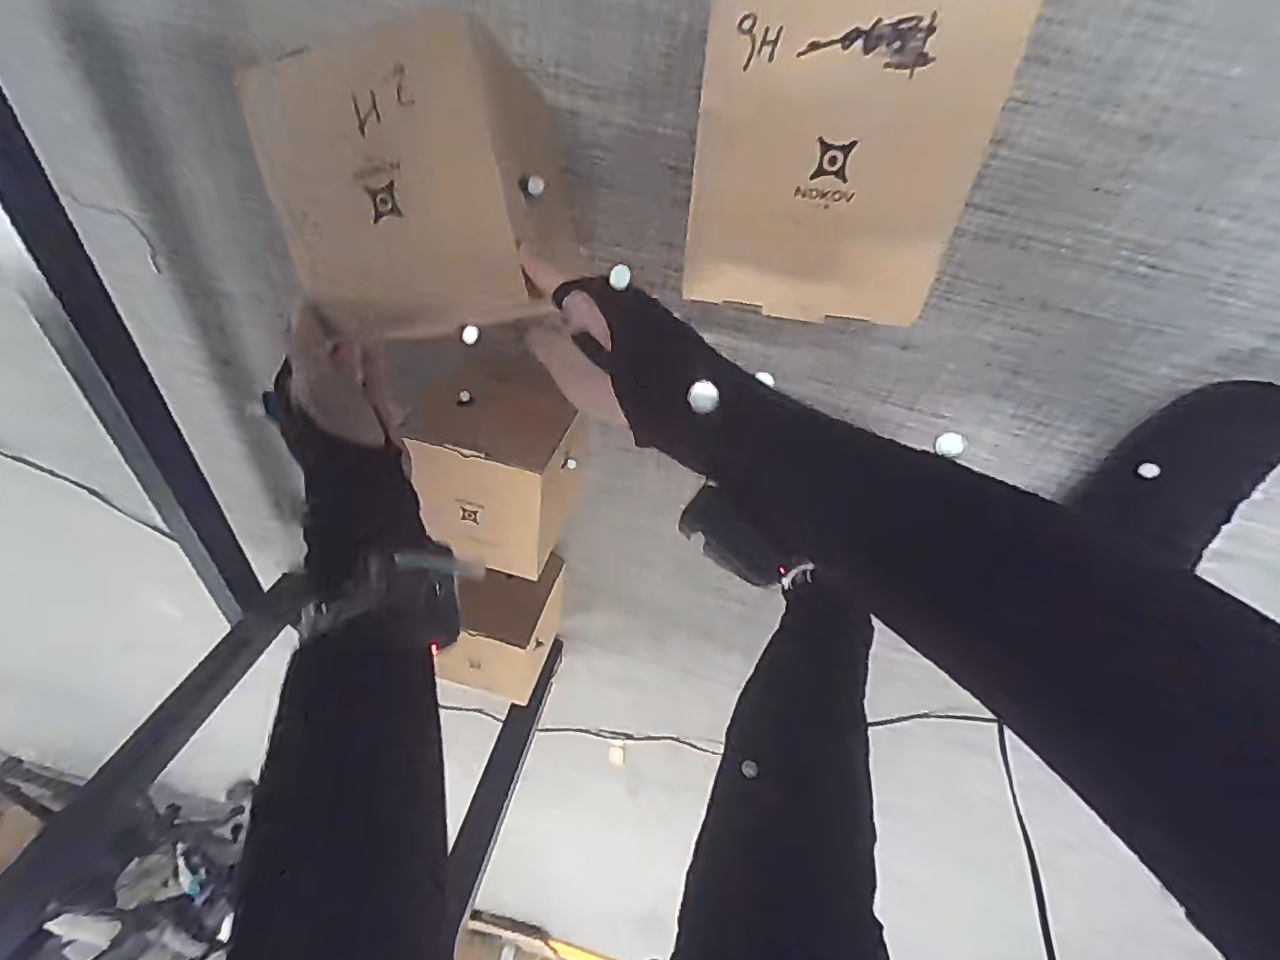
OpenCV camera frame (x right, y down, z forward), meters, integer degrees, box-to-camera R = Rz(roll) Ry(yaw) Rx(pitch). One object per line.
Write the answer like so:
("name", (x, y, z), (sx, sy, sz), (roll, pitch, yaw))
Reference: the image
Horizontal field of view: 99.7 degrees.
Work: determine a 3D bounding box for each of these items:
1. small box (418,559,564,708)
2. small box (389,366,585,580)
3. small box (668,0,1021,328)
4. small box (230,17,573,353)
("small box", (-0.226, 0.227, 0.866), (0.168, 0.176, 0.179), (14, 130, 5))
("small box", (-0.171, -0.014, 0.654), (0.168, 0.176, 0.179), (15, 131, 5))
("small box", (0.121, -0.236, 0.387), (0.168, 0.176, 0.179), (10, 131, 6))
("small box", (-0.162, -0.204, 0.432), (0.168, 0.176, 0.179), (-8, 103, 9))
